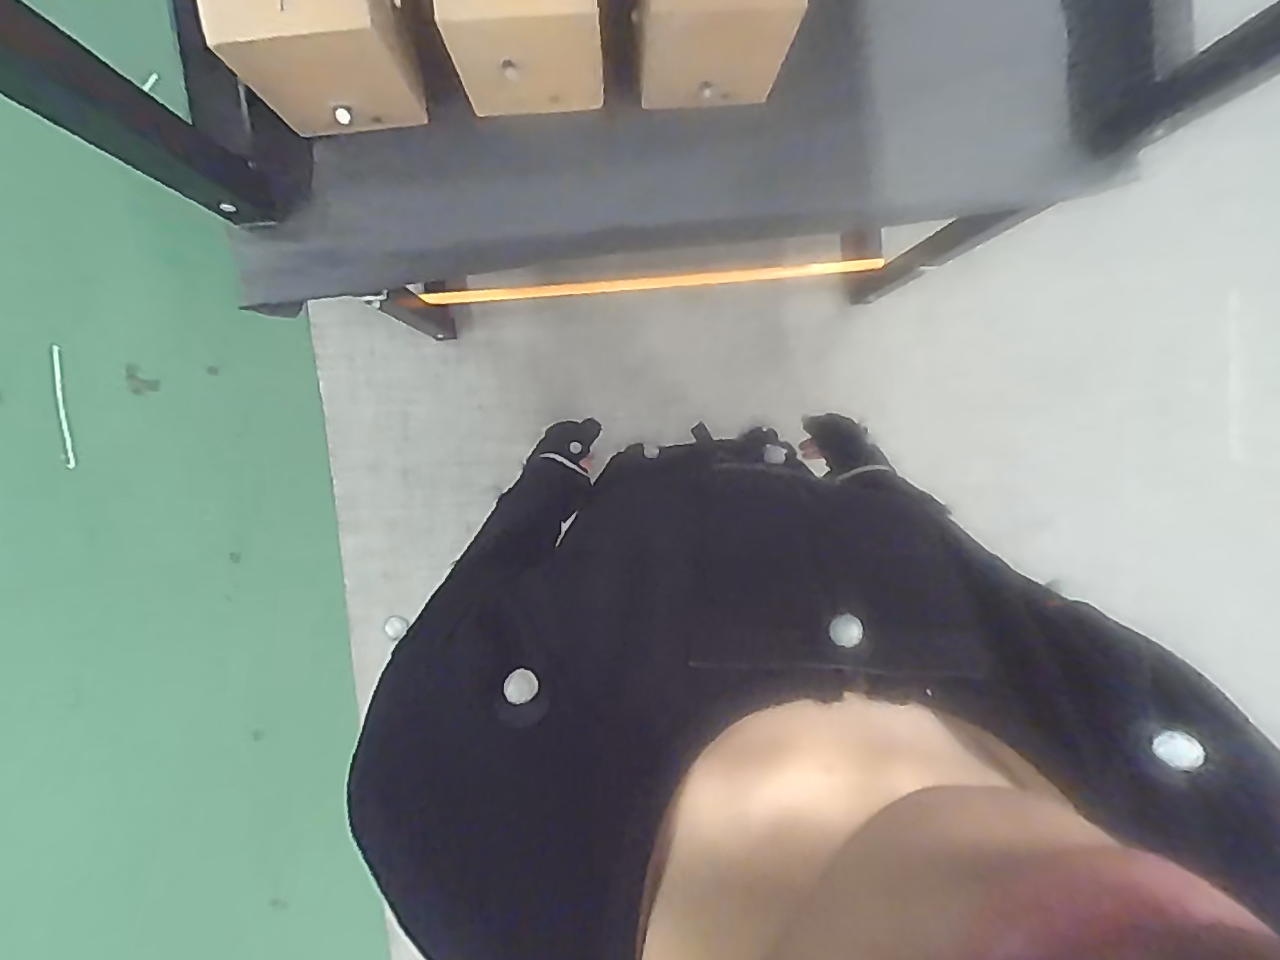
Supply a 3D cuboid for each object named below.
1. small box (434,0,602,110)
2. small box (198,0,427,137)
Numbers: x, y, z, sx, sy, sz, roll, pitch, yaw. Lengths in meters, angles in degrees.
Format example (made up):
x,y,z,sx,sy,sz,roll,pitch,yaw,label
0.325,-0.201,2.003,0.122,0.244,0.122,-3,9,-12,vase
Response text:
x,y,z,sx,sy,sz,roll,pitch,yaw,label
-0.133,-0.555,0.616,0.168,0.176,0.179,-5,93,-2,small box
-0.358,-0.527,0.607,0.168,0.176,0.179,-8,94,-1,small box
